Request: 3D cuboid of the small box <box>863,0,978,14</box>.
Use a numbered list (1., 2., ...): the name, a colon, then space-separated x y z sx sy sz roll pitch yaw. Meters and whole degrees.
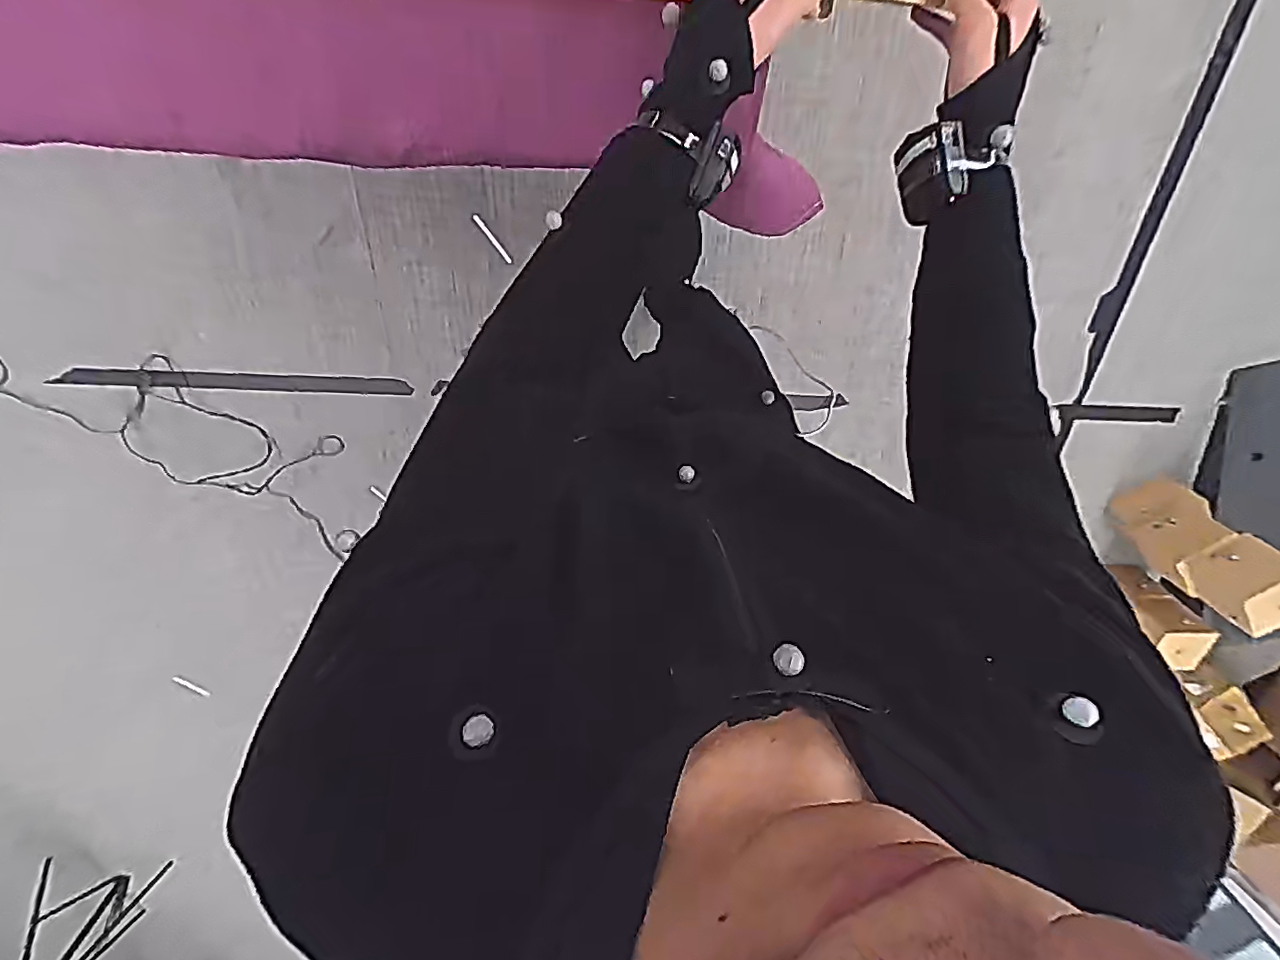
1. small box: 0.189 -0.495 0.429 0.179 0.176 0.168 3 133 -5
